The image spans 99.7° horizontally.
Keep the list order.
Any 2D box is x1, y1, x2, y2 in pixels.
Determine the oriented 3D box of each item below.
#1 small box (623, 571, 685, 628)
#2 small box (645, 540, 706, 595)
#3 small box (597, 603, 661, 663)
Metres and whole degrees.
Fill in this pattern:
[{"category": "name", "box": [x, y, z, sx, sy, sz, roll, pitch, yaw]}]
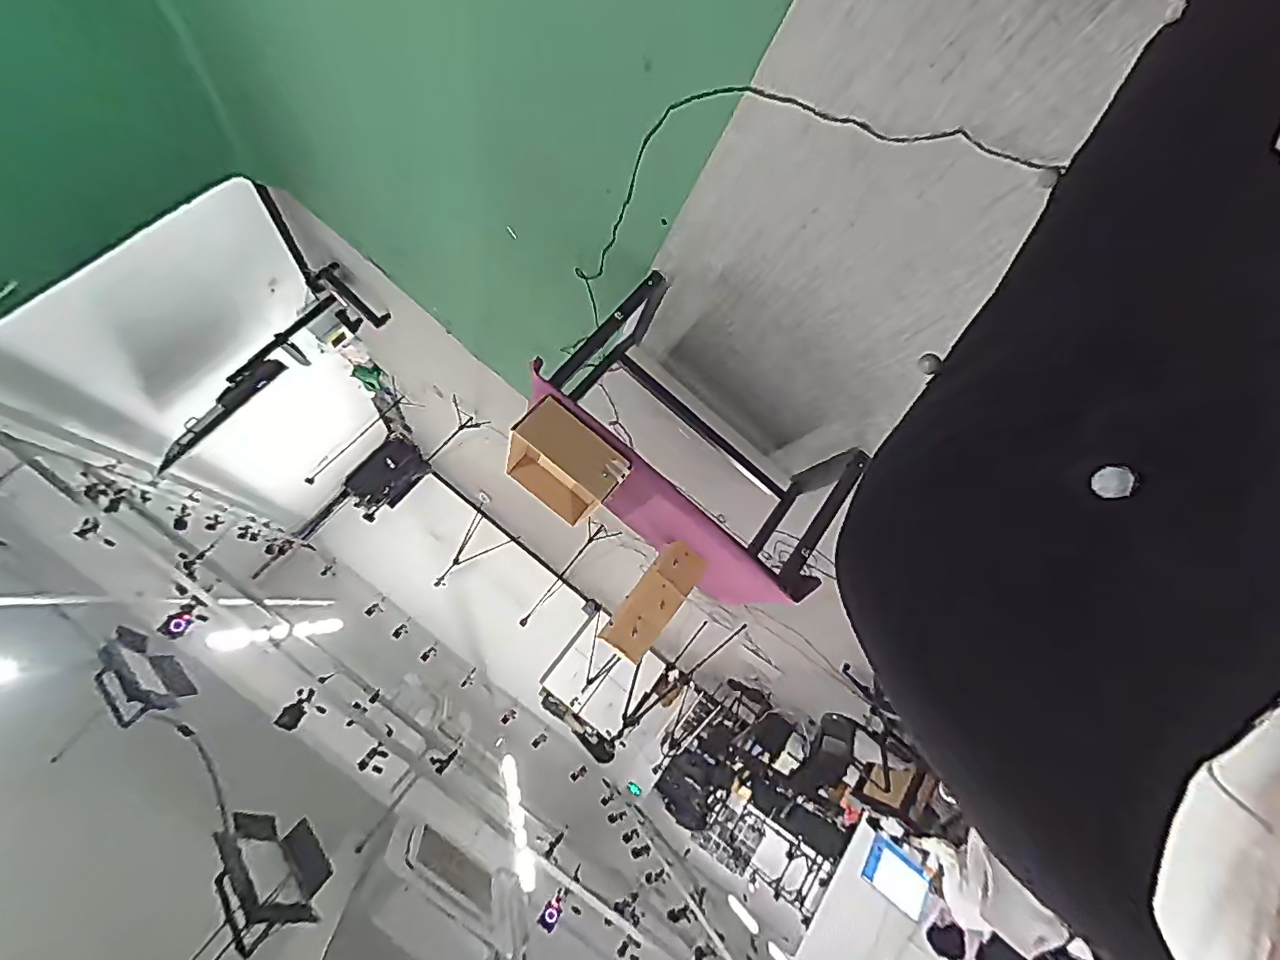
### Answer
[{"category": "small box", "box": [0.058, 0.482, 2.195, 0.168, 0.176, 0.179, 41, 160, -3]}, {"category": "small box", "box": [0.152, 0.365, 2.254, 0.168, 0.176, 0.179, 41, 160, -4]}, {"category": "small box", "box": [-0.041, 0.602, 2.143, 0.168, 0.176, 0.179, 41, 160, -3]}]
